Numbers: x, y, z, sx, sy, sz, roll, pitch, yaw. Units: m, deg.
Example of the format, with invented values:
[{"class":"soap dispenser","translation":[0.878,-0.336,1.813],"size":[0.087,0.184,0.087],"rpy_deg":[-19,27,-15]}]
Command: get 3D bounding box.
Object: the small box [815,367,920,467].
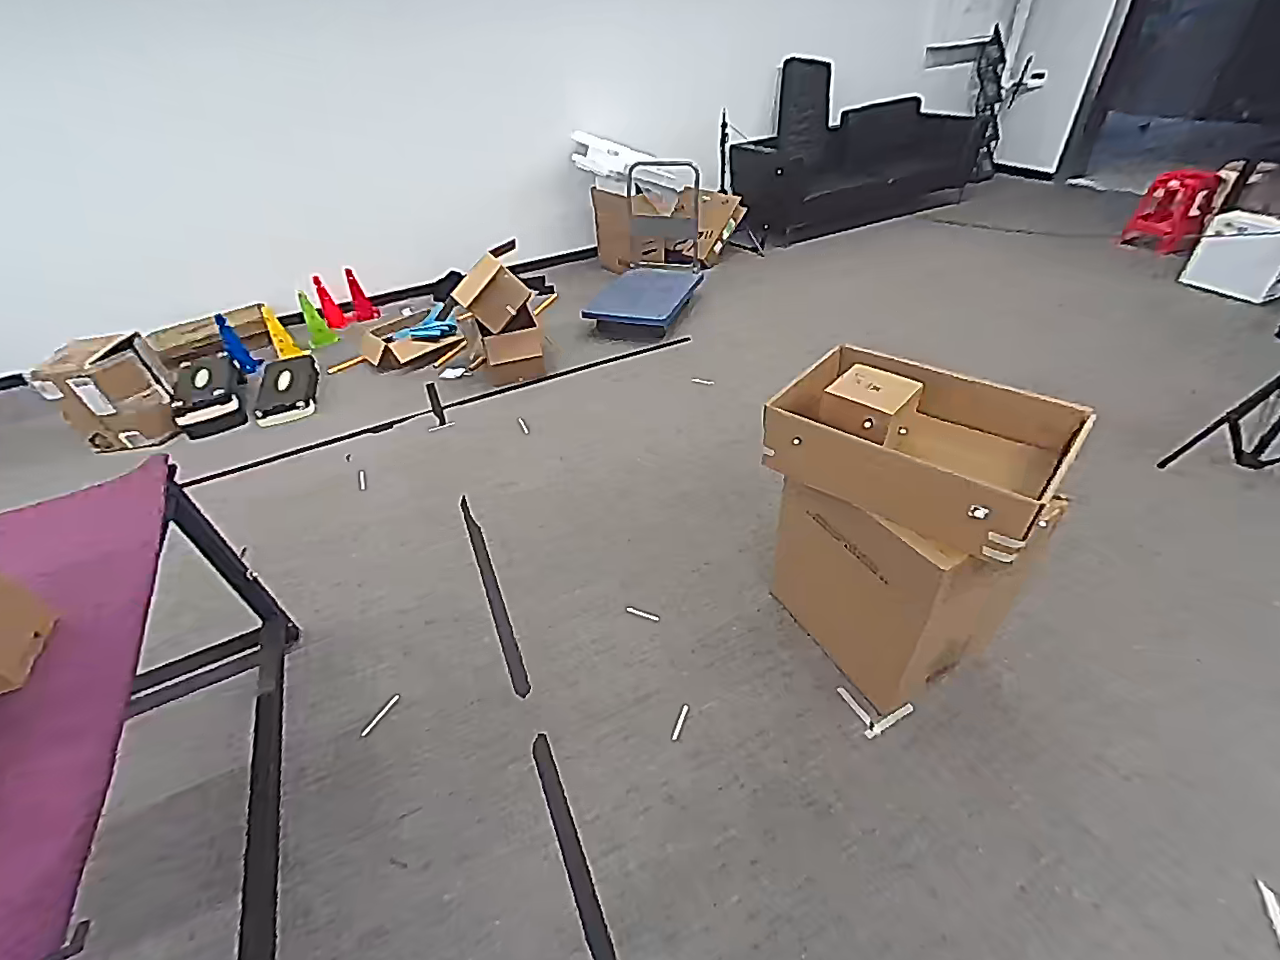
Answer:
[{"class":"small box","translation":[0.567,-0.156,1.362],"size":[0.179,0.176,0.168],"rpy_deg":[30,52,35]}]
